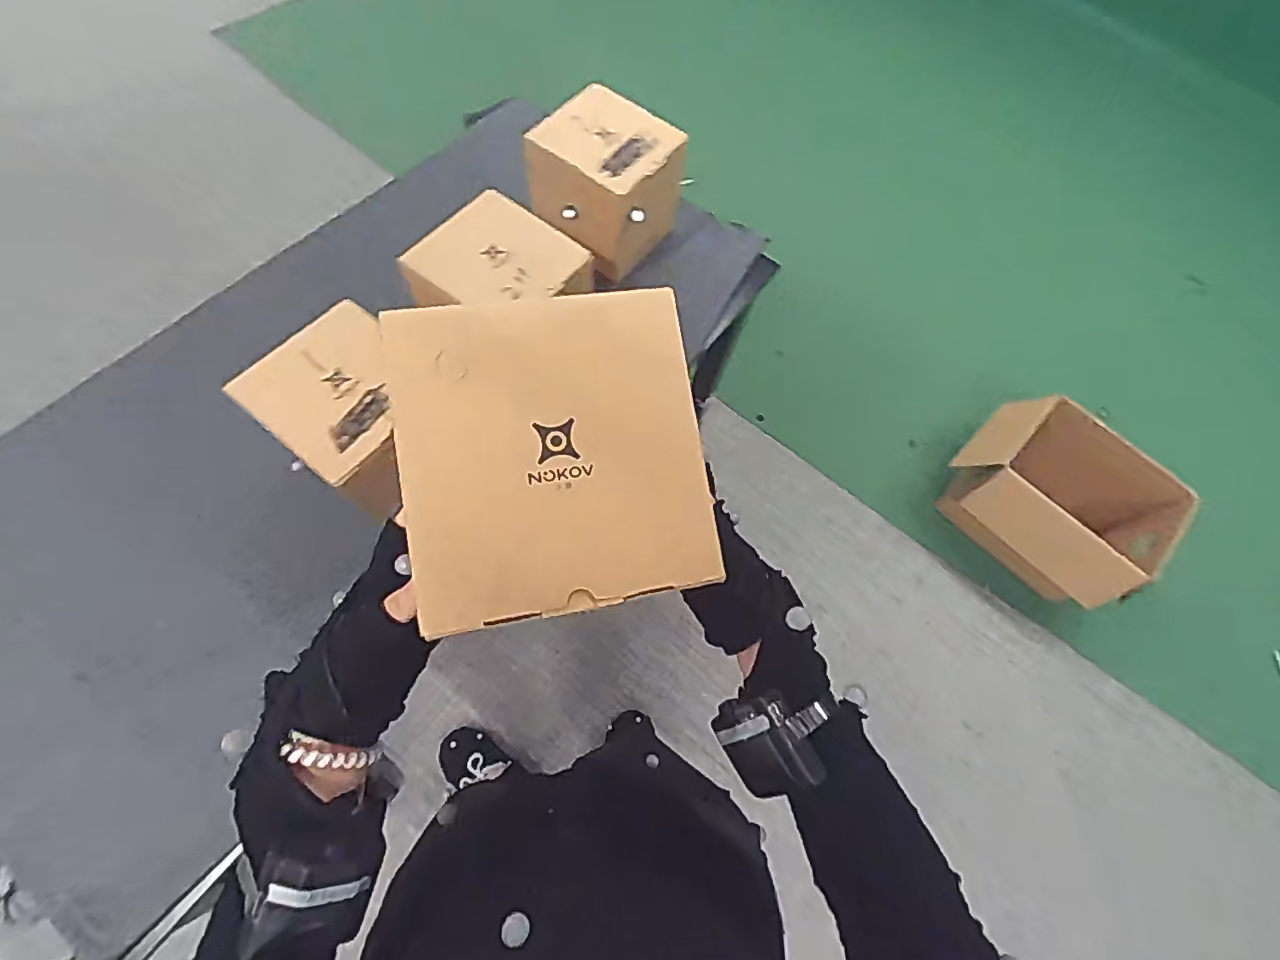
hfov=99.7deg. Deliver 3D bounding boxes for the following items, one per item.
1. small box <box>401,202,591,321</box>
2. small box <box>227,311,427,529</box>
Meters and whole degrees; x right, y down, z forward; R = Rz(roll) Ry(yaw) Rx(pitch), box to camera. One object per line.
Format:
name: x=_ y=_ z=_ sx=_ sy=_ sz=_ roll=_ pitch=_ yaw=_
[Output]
small box: x=-0.186 y=-0.233 z=0.748 sx=0.179 sy=0.176 sz=0.168 roll=36 pitch=68 yaw=9
small box: x=-0.330 y=-0.060 z=0.659 sx=0.179 sy=0.176 sz=0.168 roll=37 pitch=67 yaw=11
